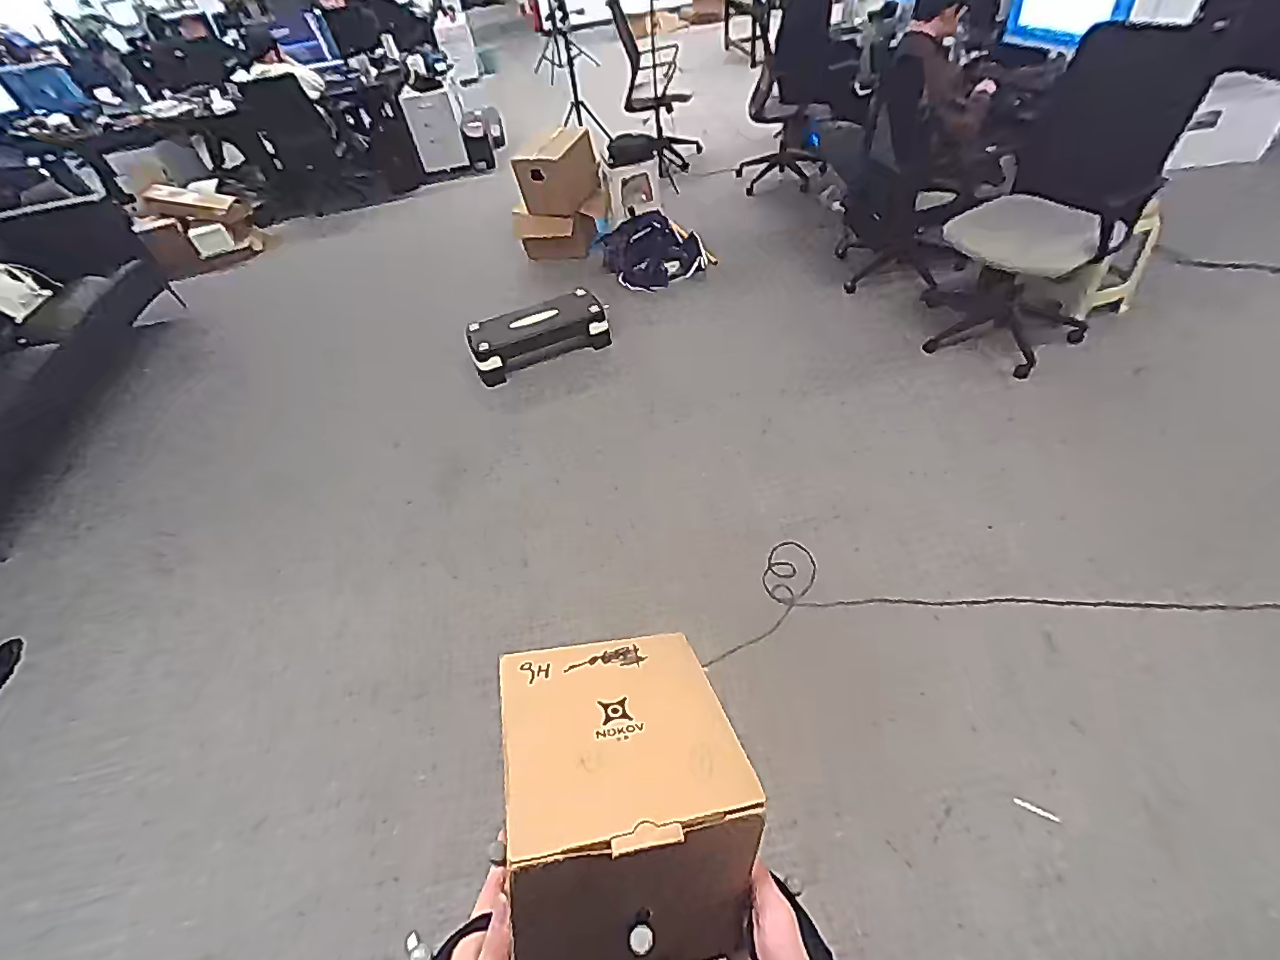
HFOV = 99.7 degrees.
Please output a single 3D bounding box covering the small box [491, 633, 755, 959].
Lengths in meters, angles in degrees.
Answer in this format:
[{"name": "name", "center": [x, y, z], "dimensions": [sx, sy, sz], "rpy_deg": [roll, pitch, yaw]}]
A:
[{"name": "small box", "center": [-0.029, 0.251, 0.428], "dimensions": [0.168, 0.176, 0.179], "rpy_deg": [-2, 26, -15]}]
